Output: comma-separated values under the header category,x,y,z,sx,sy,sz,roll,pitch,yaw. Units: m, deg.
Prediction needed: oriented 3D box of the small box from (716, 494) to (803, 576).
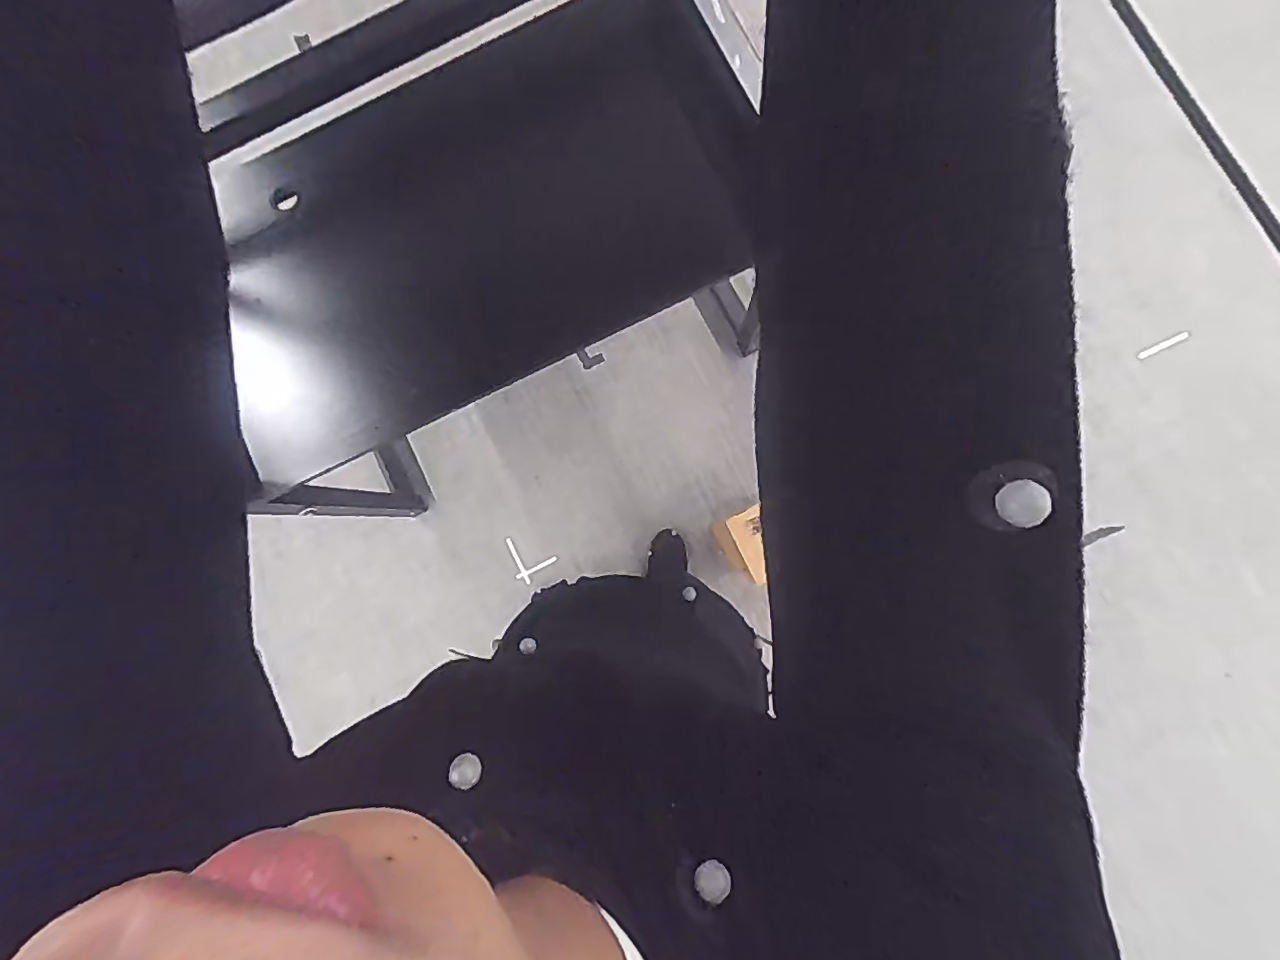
category,x,y,z,sx,sy,sz,roll,pitch,yaw
small box,0.328,0.150,1.524,0.179,0.176,0.168,-28,84,2
